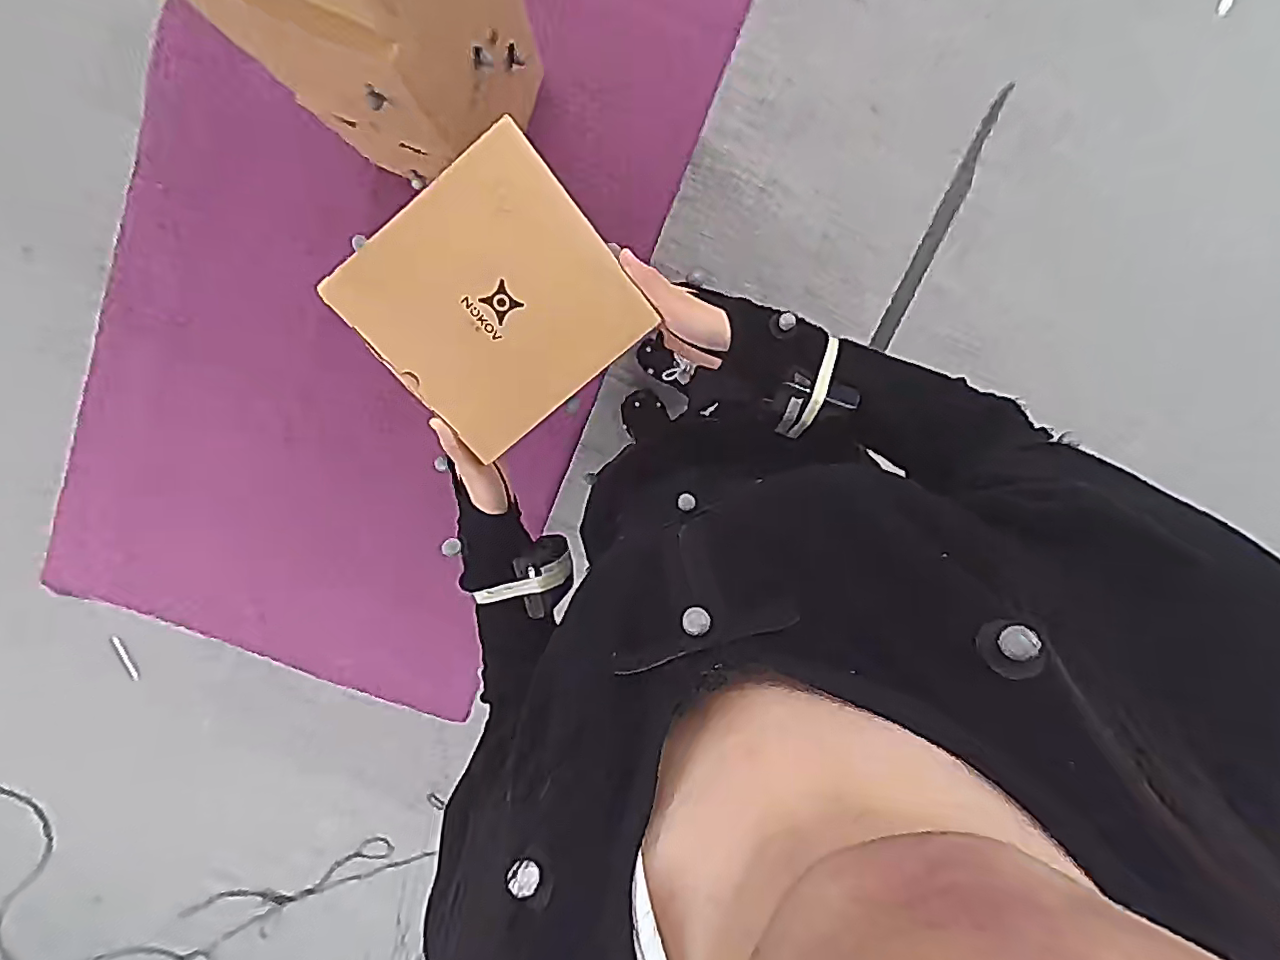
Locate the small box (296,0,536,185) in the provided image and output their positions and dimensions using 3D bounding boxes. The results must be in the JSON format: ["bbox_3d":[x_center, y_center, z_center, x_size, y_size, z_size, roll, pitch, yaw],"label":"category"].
[{"bbox_3d":[-0.222,-0.429,0.583,0.168,0.176,0.179,21,101,-4],"label":"small box"}]

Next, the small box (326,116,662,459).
[{"bbox_3d":[-0.107,-0.151,0.454,0.179,0.176,0.168,-38,108,7],"label":"small box"}]
